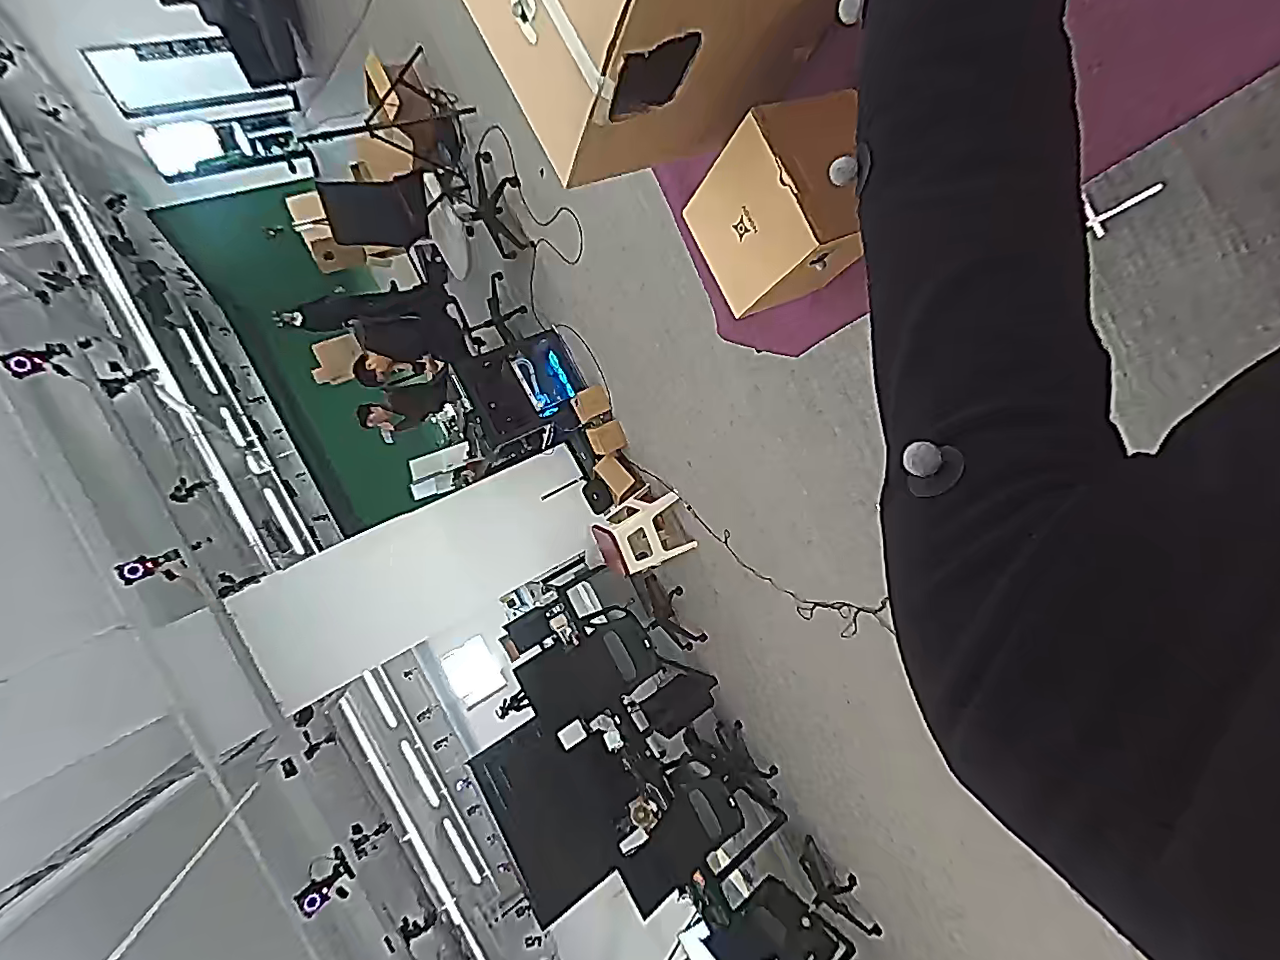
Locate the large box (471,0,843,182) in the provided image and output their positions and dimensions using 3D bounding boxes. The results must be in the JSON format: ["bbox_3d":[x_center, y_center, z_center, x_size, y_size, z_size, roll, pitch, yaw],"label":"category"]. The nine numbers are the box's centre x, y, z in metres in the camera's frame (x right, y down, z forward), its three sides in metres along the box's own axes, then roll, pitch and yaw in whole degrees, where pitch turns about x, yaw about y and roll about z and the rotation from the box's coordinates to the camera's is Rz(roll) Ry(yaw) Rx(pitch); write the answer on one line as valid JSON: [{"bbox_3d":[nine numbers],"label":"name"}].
[{"bbox_3d":[-0.004,-0.632,0.585,0.408,0.320,0.320,60,158,-1],"label":"large box"}]
